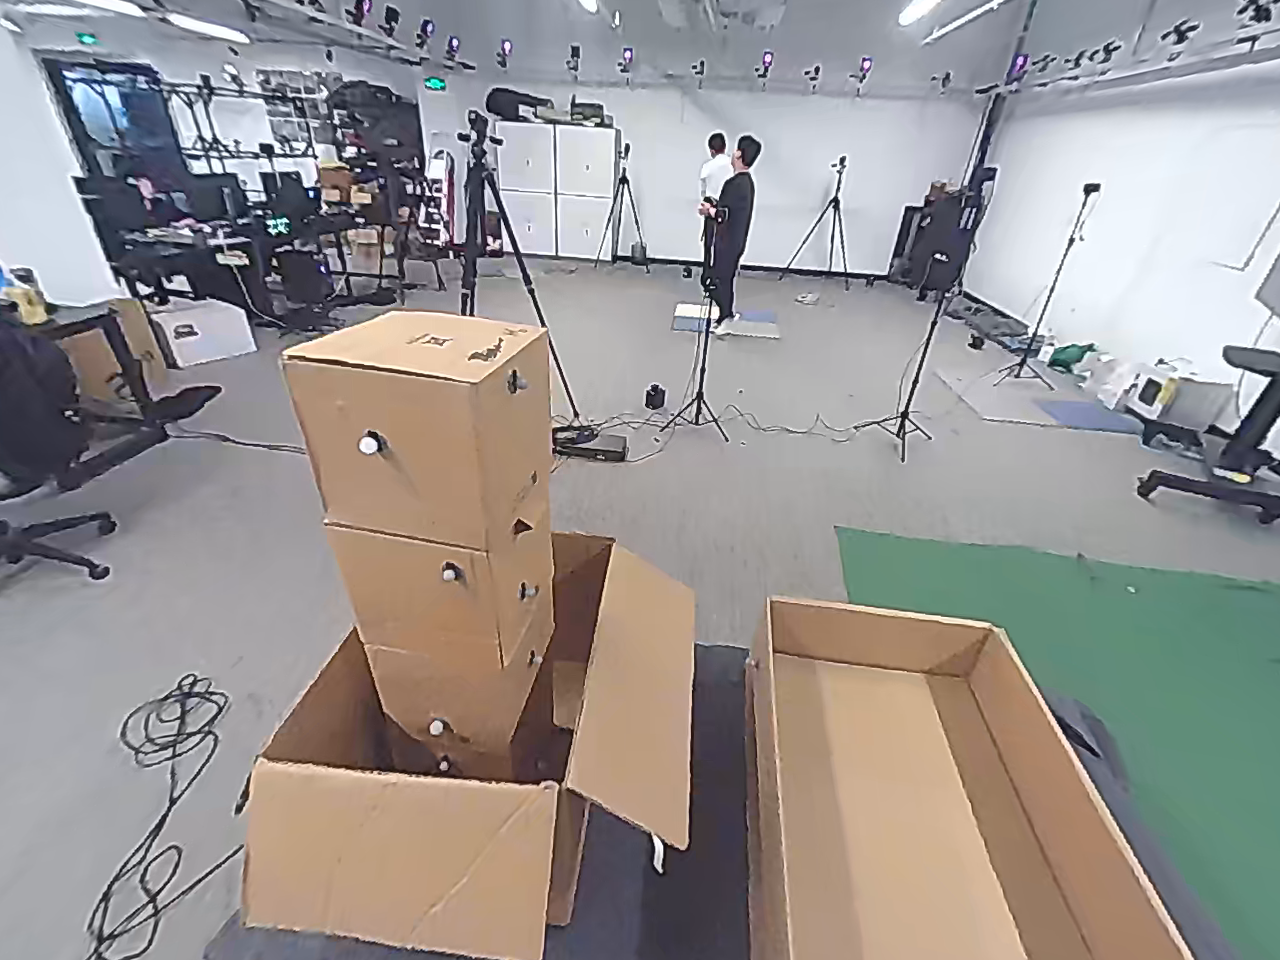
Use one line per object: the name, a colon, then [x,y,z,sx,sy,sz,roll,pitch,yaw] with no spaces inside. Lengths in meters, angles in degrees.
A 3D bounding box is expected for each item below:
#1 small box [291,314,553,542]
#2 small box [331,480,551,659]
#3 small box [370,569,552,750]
small box: [-0.196,-0.056,0.543,0.179,0.176,0.168,9,32,8]
small box: [-0.213,0.082,0.629,0.179,0.176,0.168,9,32,7]
small box: [-0.220,0.218,0.717,0.168,0.176,0.179,8,34,6]
